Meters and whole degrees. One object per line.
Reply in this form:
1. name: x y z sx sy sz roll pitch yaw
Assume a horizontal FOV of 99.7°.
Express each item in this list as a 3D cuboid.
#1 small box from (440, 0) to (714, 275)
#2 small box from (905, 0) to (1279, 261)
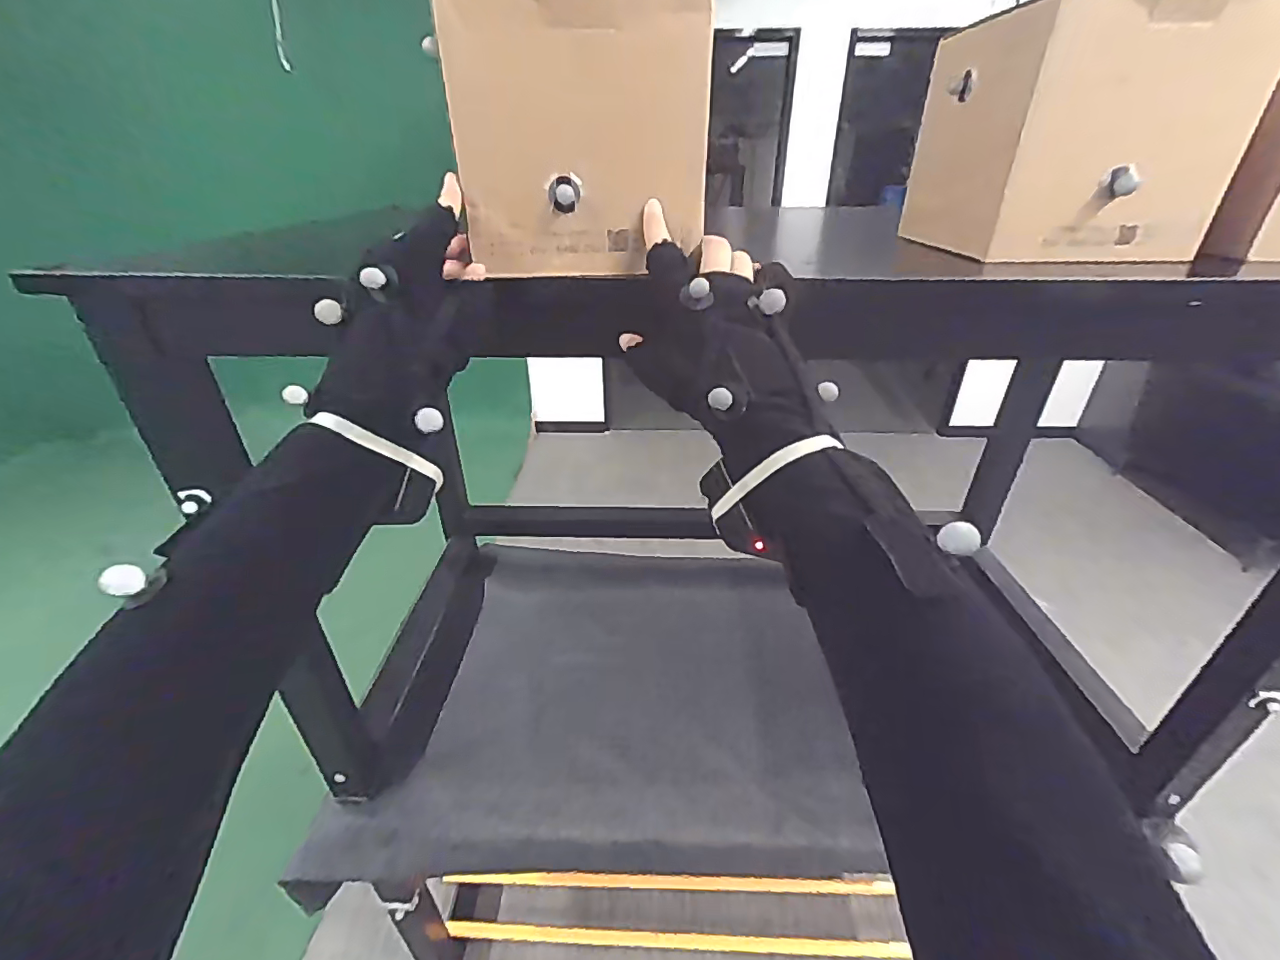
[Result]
1. small box: -0.047 -0.263 0.422 0.168 0.176 0.179 -4 31 -6
2. small box: 0.353 -0.289 0.459 0.168 0.176 0.179 0 31 1
